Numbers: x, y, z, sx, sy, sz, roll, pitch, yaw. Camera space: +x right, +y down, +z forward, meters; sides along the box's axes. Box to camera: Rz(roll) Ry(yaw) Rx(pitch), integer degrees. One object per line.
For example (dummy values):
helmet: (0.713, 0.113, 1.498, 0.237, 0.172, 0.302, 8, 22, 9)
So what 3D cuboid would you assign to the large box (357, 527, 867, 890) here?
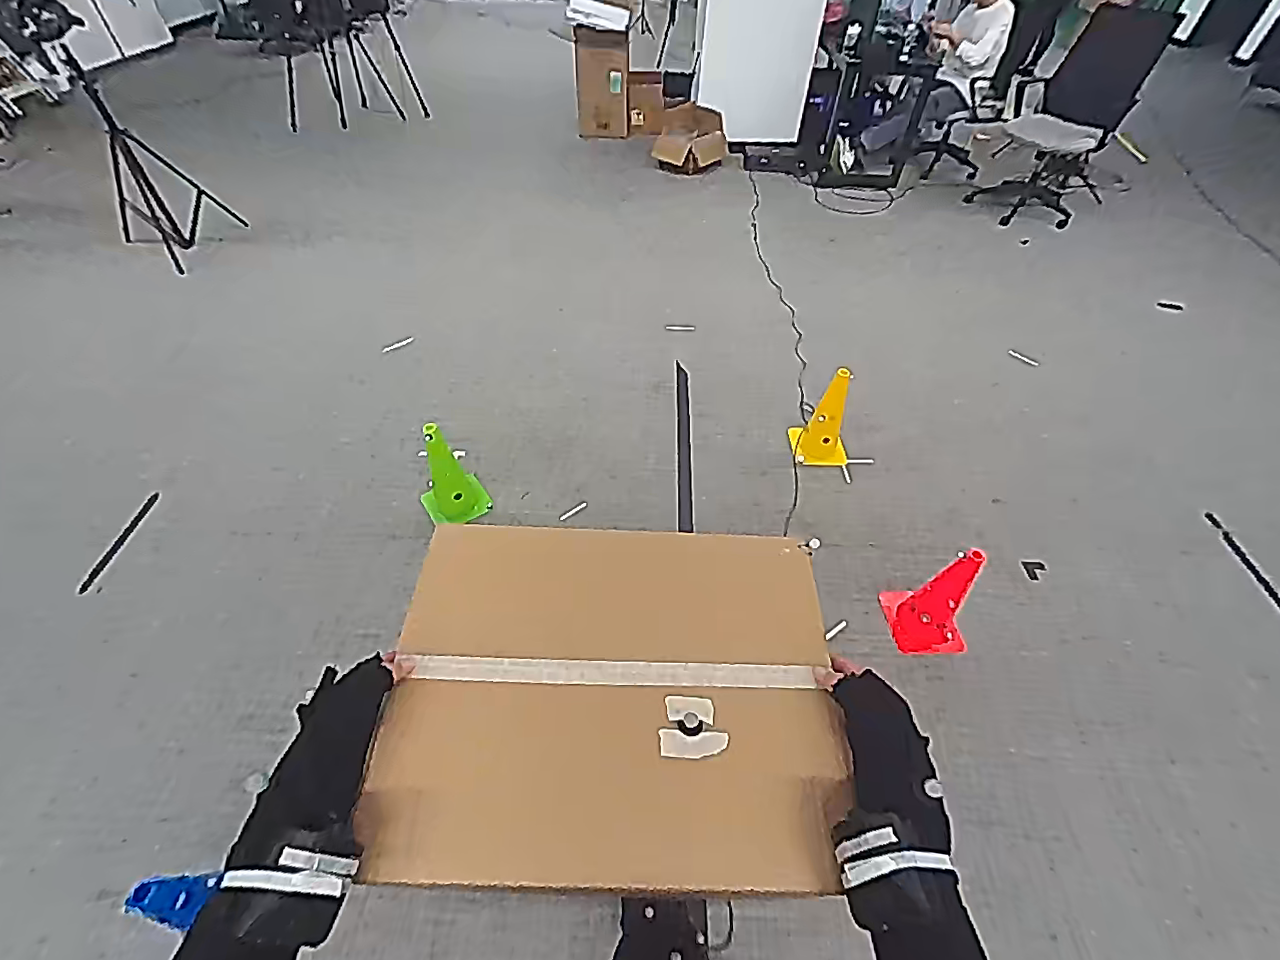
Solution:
large box: (-0.026, 0.271, 0.622, 0.408, 0.320, 0.320, 3, 52, -2)

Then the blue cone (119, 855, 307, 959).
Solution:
blue cone: (-0.818, 0.798, 1.015, 0.192, 0.380, 0.193, 3, 48, 3)

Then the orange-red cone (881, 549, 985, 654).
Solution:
orange-red cone: (0.838, 0.305, 1.480, 0.198, 0.360, 0.199, 1, 47, -2)

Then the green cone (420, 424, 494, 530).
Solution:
green cone: (-0.635, -0.042, 1.752, 0.202, 0.368, 0.200, -29, 54, -23)
